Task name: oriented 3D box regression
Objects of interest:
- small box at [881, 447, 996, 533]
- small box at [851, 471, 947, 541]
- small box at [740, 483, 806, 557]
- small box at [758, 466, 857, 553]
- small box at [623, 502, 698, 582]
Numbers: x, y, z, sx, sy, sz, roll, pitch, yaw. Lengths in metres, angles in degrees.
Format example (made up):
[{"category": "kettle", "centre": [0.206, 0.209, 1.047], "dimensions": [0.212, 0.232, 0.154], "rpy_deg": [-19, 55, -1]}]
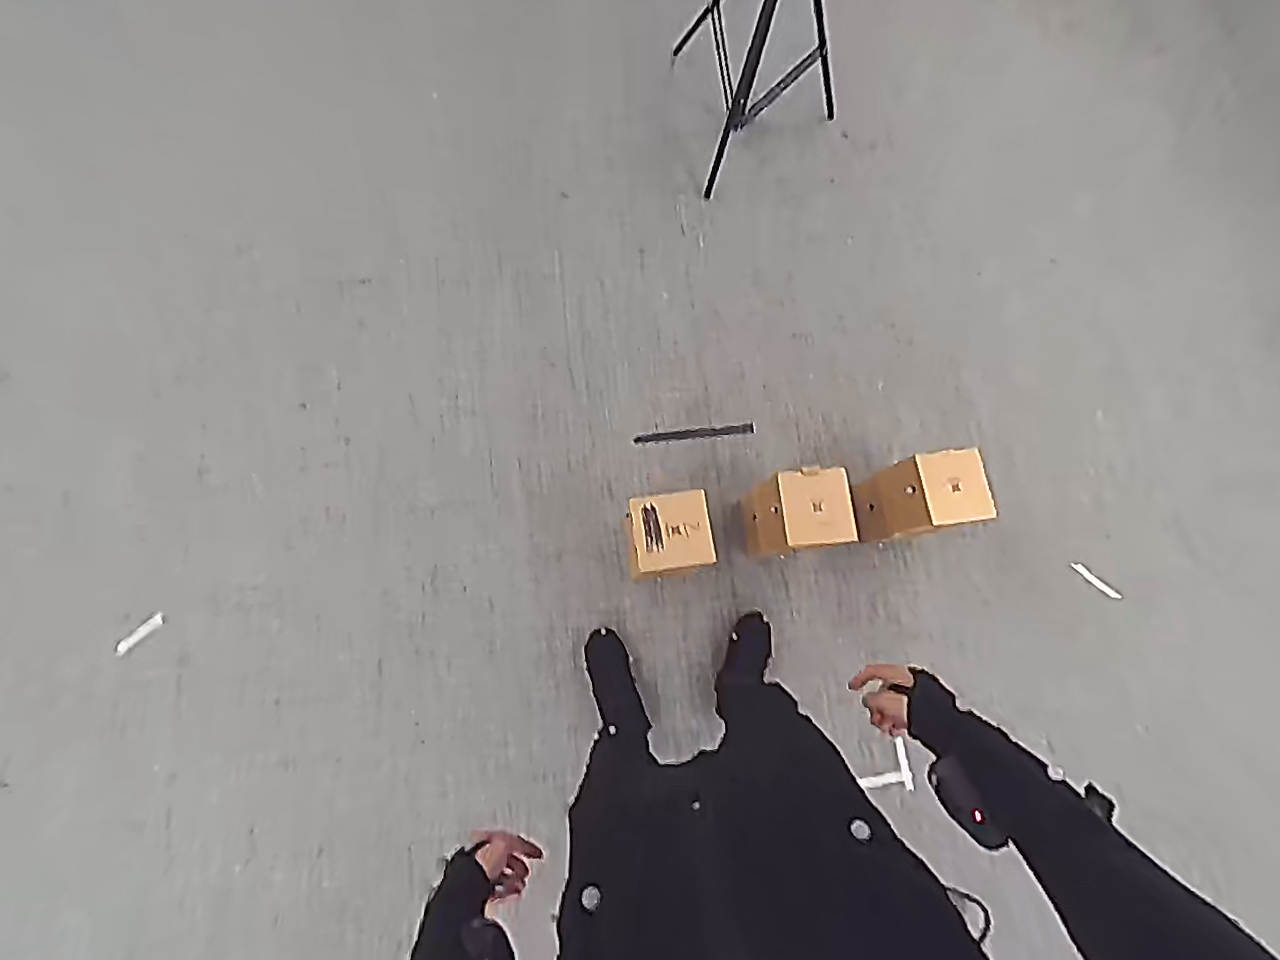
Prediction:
[{"category": "small box", "centre": [0.730, 0.031, 1.342], "dimensions": [0.168, 0.176, 0.179], "rpy_deg": [-7, 76, -7]}, {"category": "small box", "centre": [0.713, 0.071, 1.499], "dimensions": [0.168, 0.176, 0.179], "rpy_deg": [-7, 76, -7]}, {"category": "small box", "centre": [0.377, 0.108, 1.459], "dimensions": [0.168, 0.176, 0.179], "rpy_deg": [-4, 77, -6]}, {"category": "small box", "centre": [0.393, 0.075, 1.299], "dimensions": [0.168, 0.176, 0.179], "rpy_deg": [-4, 77, -6]}, {"category": "small box", "centre": [0.047, 0.166, 1.418], "dimensions": [0.168, 0.176, 0.179], "rpy_deg": [-5, 76, -6]}]
